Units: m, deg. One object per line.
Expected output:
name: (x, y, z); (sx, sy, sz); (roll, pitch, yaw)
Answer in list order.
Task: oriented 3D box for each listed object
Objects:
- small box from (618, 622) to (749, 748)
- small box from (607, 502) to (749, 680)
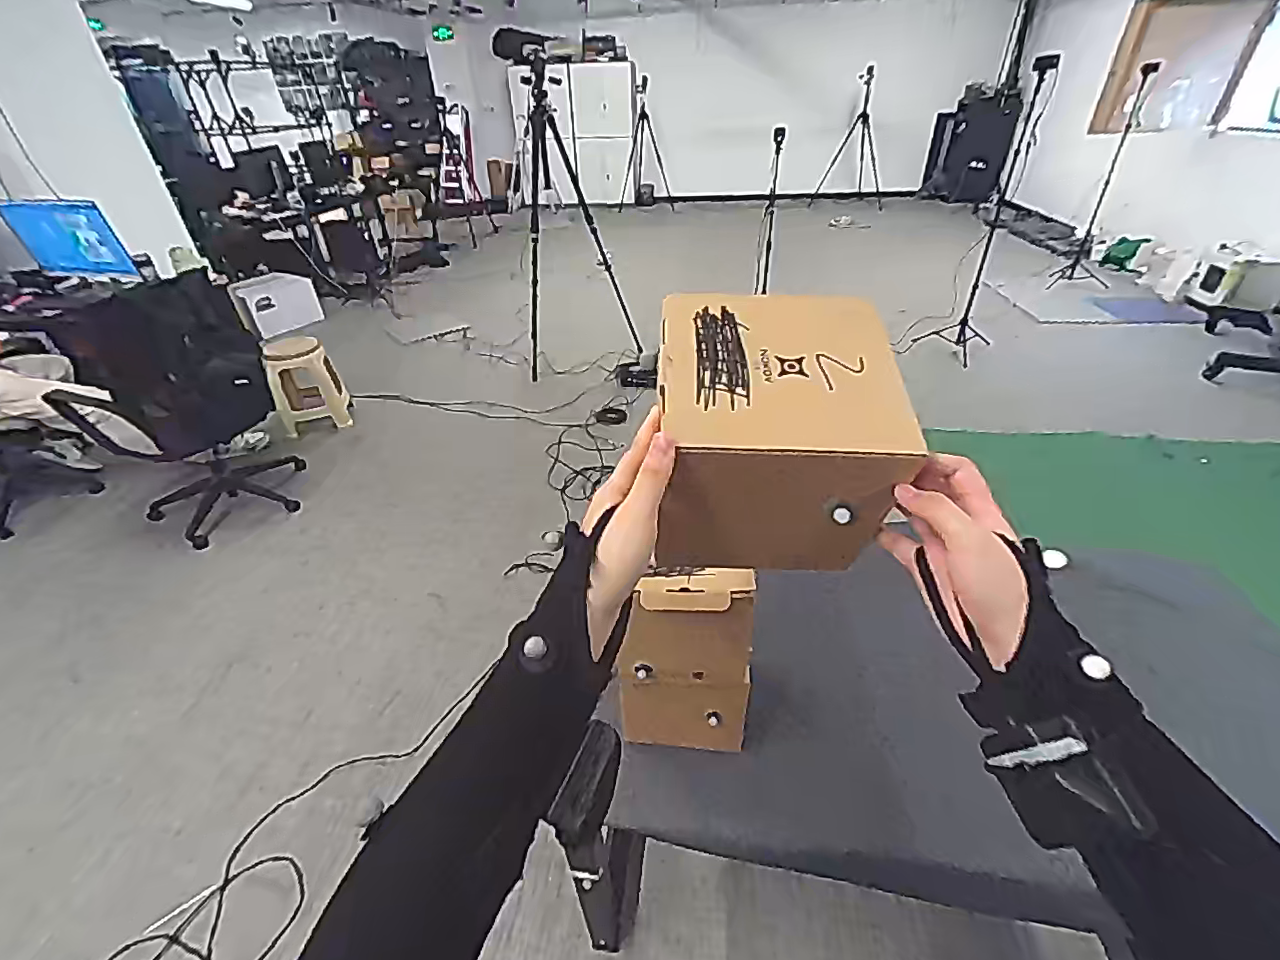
small box: (0.069, 0.282, 0.820); (0.179, 0.176, 0.168); (1, 34, 7)
small box: (0.051, 0.148, 0.726); (0.168, 0.176, 0.179); (0, 33, 3)
